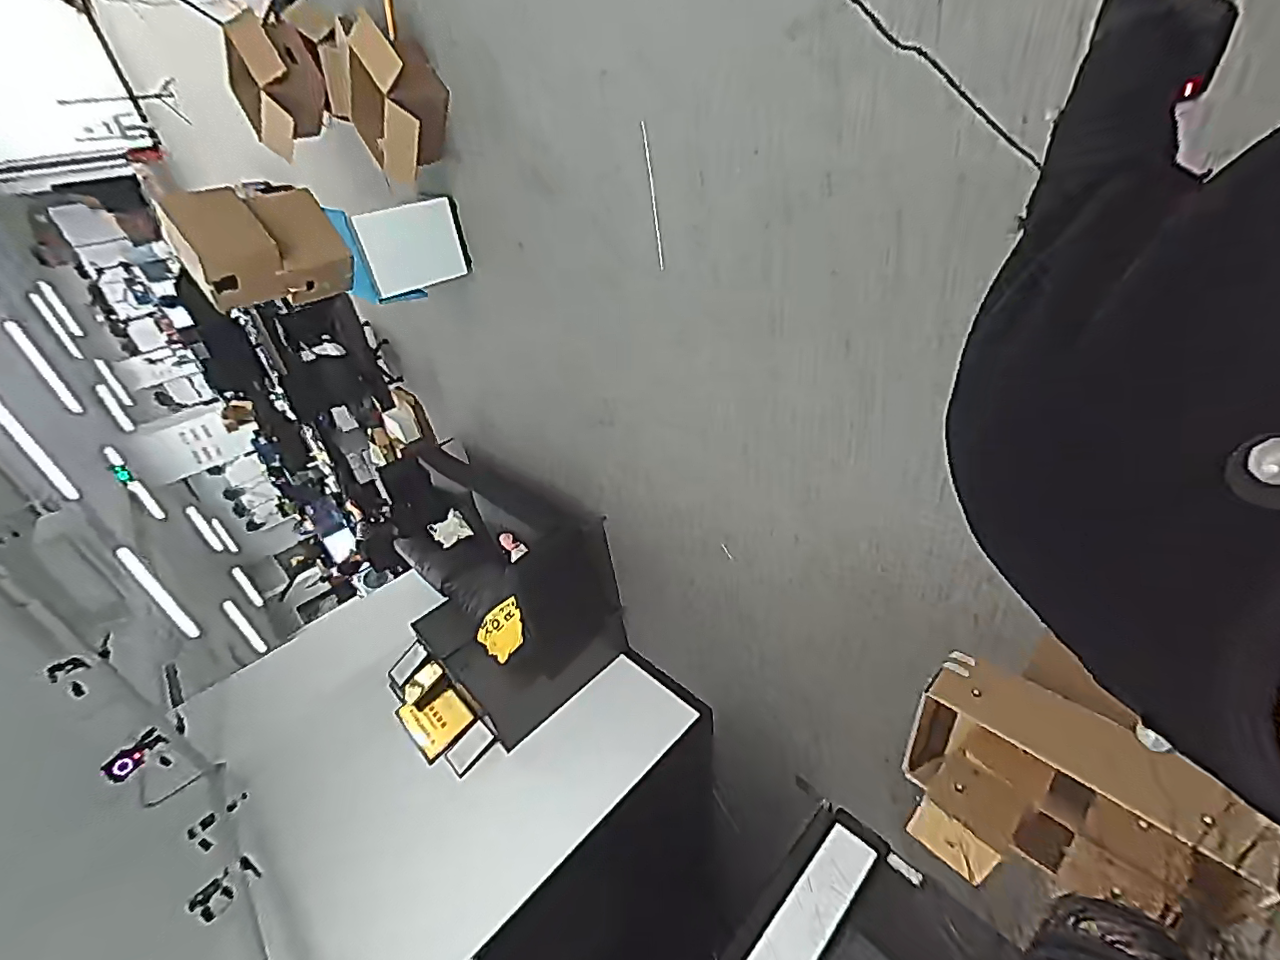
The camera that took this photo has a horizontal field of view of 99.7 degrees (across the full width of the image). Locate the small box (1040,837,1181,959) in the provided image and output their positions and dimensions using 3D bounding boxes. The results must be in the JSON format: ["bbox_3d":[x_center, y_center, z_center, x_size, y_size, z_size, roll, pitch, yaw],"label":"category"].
[{"bbox_3d":[0.960,0.886,1.104,0.168,0.176,0.179,24,135,44],"label":"small box"}]

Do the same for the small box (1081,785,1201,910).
[{"bbox_3d":[1.087,0.826,1.190,0.168,0.176,0.179,23,134,43],"label":"small box"}]

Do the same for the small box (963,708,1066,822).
[{"bbox_3d":[0.910,0.712,1.343,0.168,0.176,0.179,35,142,33],"label":"small box"}]

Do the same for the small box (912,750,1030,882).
[{"bbox_3d":[0.779,0.782,1.272,0.168,0.176,0.179,32,140,37],"label":"small box"}]
